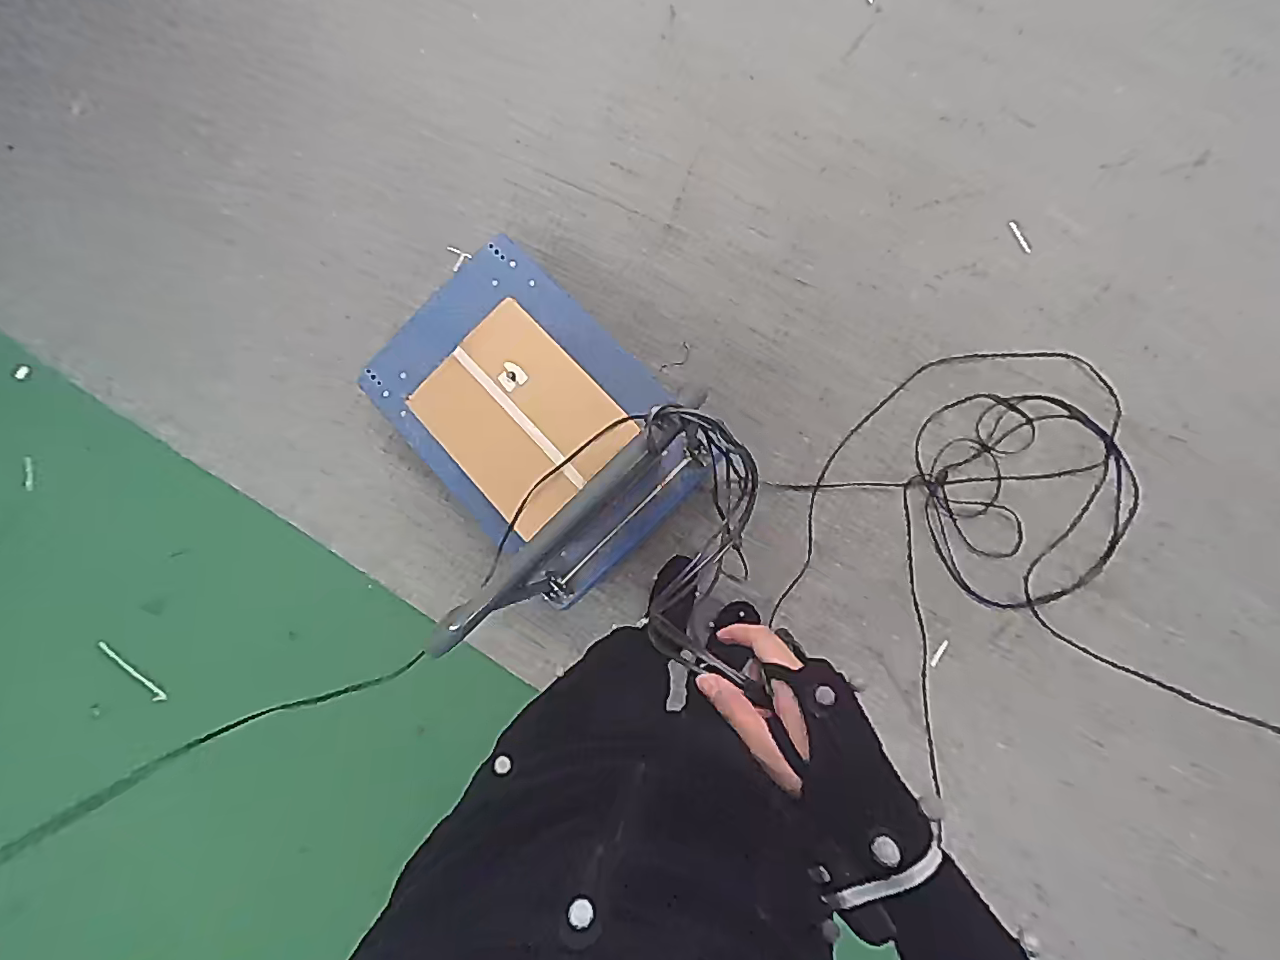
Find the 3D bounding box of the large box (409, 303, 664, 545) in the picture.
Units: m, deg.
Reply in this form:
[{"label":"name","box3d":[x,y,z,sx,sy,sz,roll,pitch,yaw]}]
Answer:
[{"label":"large box","box3d":[-0.205,-0.101,1.204,0.320,0.320,0.408,-44,78,2]}]
